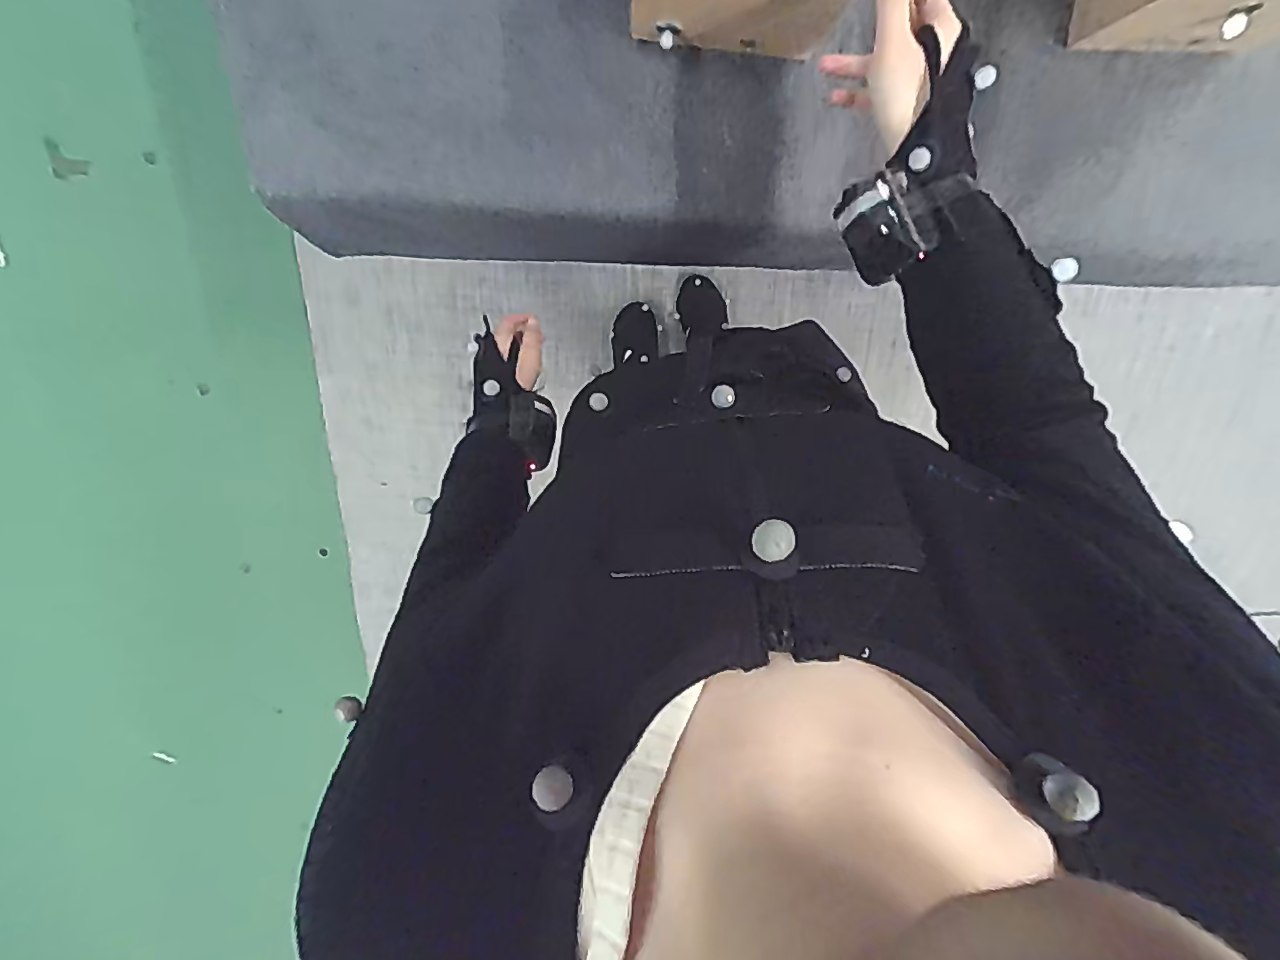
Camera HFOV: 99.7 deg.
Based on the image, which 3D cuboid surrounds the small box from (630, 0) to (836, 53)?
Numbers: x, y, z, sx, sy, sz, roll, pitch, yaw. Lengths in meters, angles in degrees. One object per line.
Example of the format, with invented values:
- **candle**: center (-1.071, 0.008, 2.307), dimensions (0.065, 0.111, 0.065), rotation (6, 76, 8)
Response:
- **small box**: center (0.079, -0.446, 0.388), dimensions (0.168, 0.176, 0.179), rotation (5, 108, -3)
